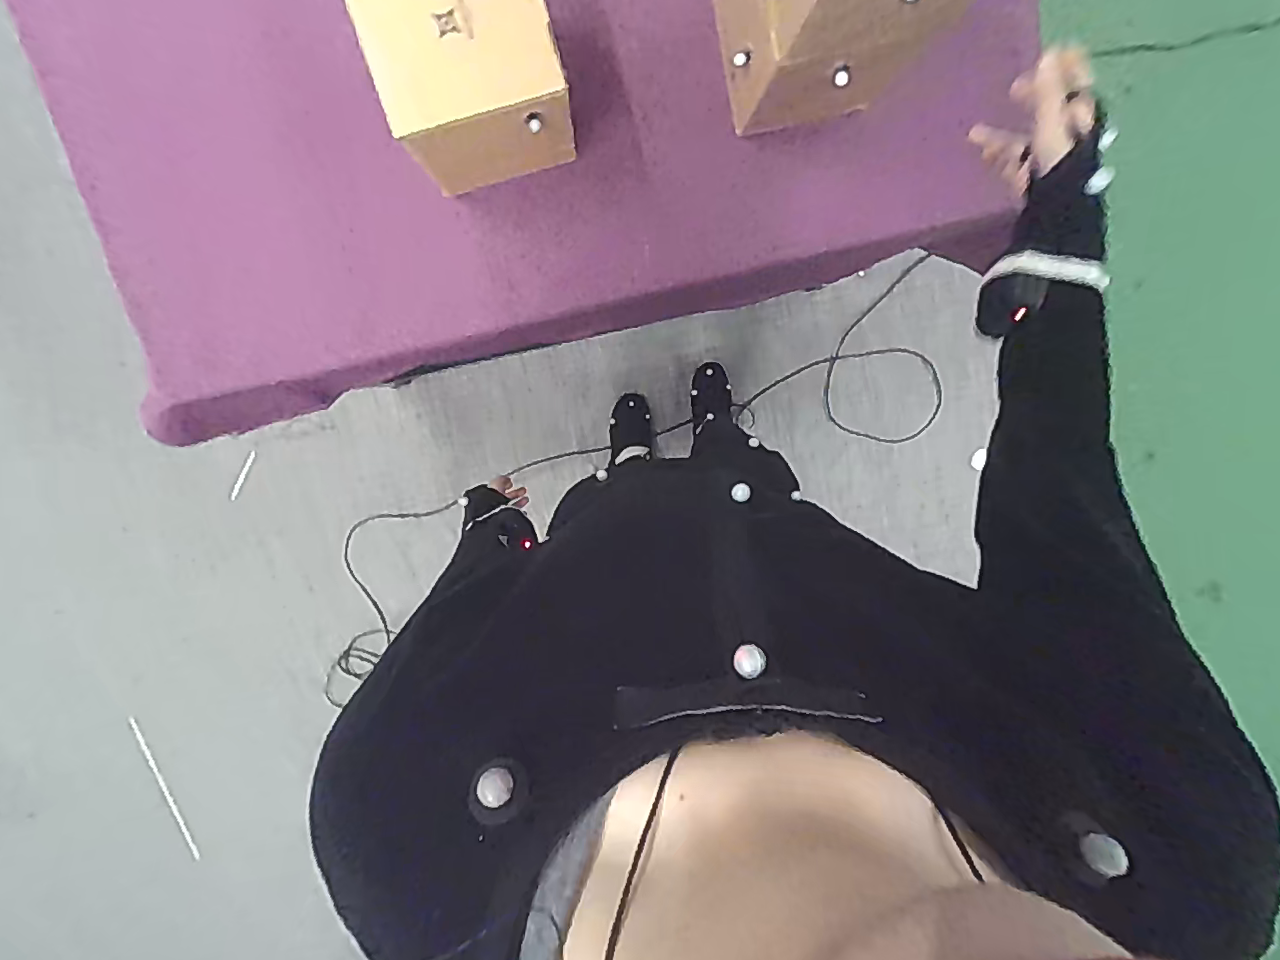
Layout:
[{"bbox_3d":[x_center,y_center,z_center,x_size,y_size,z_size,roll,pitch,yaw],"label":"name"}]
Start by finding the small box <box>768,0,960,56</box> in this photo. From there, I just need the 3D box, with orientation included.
[{"bbox_3d":[0.207,-0.493,0.438,0.179,0.176,0.168,-13,101,0],"label":"small box"}]

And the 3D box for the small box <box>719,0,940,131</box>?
[{"bbox_3d":[0.193,-0.522,0.600,0.179,0.176,0.168,-13,101,-1],"label":"small box"}]

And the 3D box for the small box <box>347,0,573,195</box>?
[{"bbox_3d":[-0.182,-0.442,0.592,0.179,0.176,0.168,-18,100,-1],"label":"small box"}]
